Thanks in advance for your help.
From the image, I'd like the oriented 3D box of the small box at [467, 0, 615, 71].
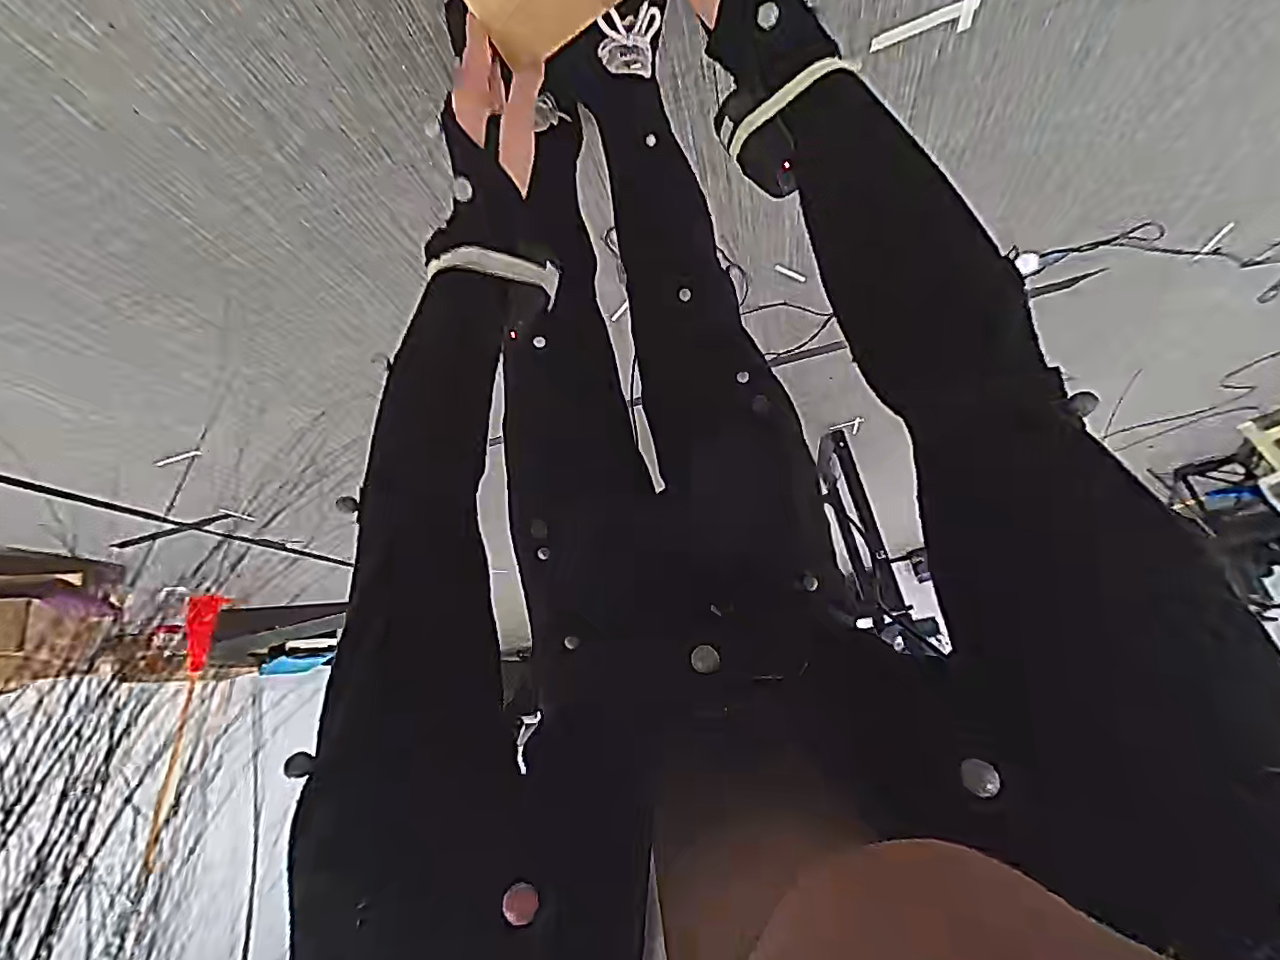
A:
[{"bbox_3d":[-0.067,-0.442,0.367,0.179,0.176,0.168,-22,144,21],"label":"small box"}]
